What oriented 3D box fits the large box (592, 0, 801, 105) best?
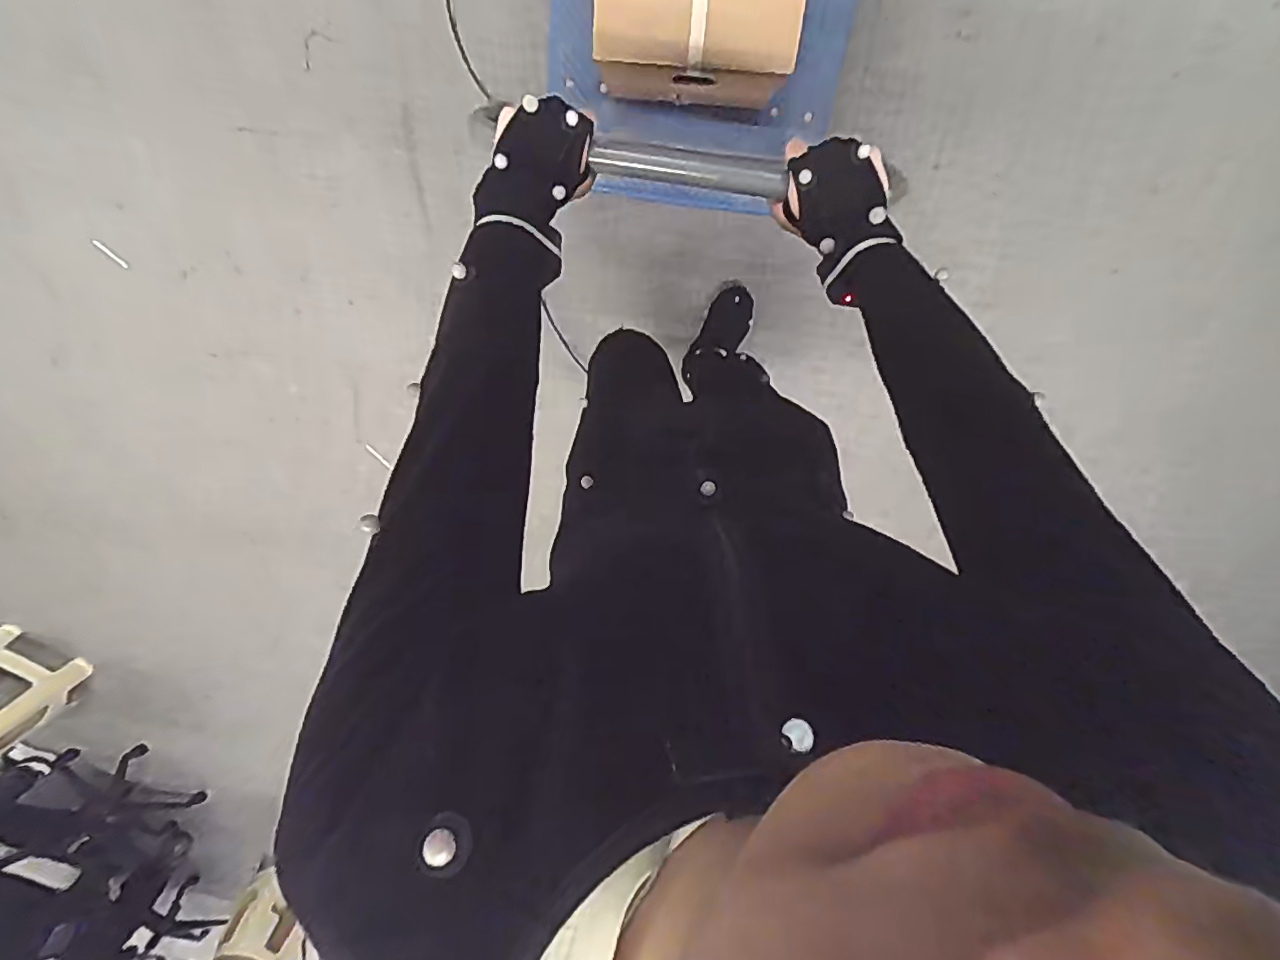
[{"bbox_3d":[0.101,-0.885,0.888,0.320,0.320,0.408,5,117,1],"label":"large box"}]
